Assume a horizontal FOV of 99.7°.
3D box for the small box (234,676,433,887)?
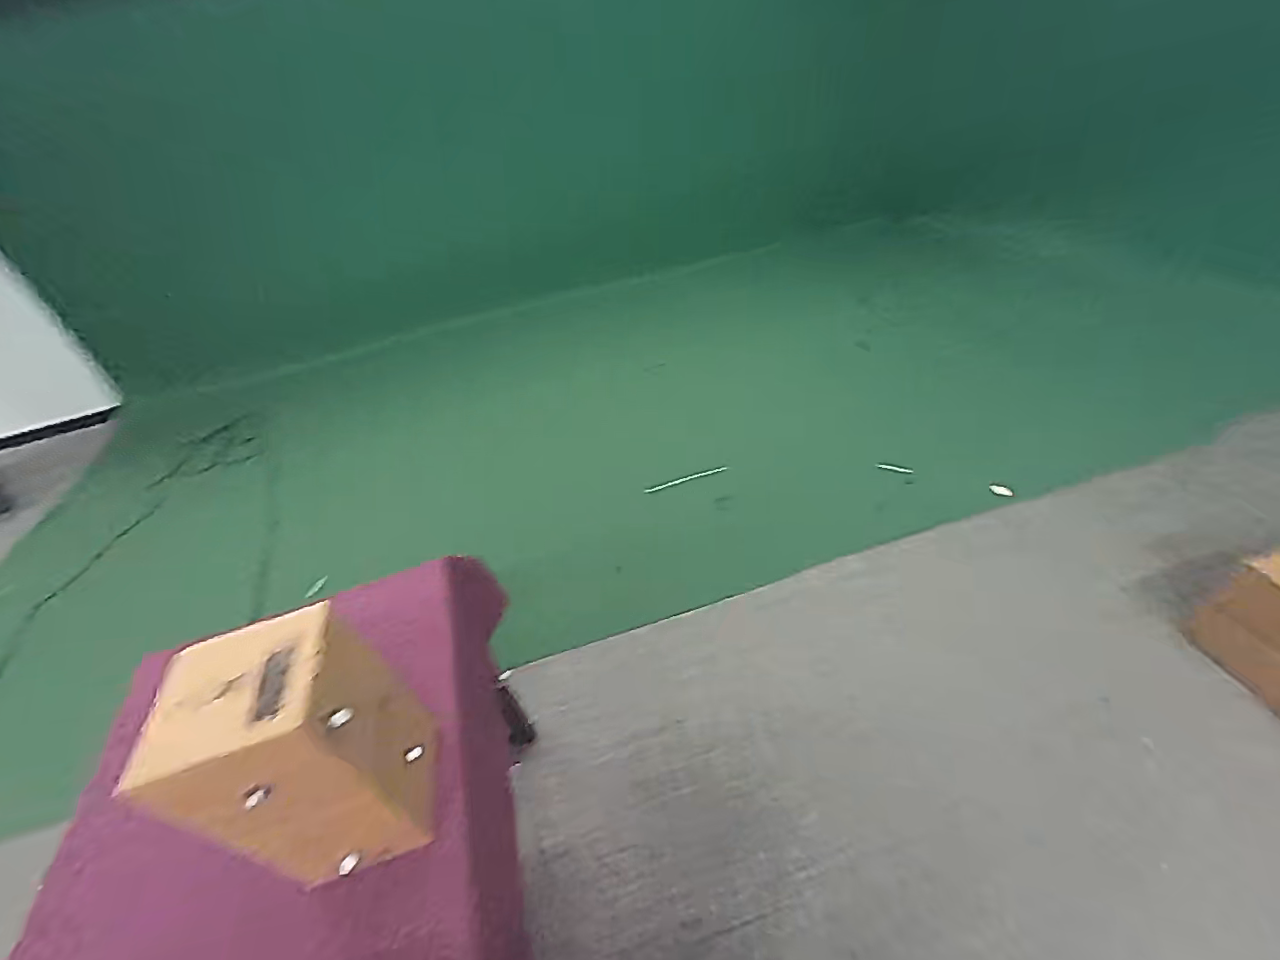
[{"bbox_3d":[-0.397,0.409,0.739,0.168,0.176,0.179,-18,40,-6],"label":"small box"}]
